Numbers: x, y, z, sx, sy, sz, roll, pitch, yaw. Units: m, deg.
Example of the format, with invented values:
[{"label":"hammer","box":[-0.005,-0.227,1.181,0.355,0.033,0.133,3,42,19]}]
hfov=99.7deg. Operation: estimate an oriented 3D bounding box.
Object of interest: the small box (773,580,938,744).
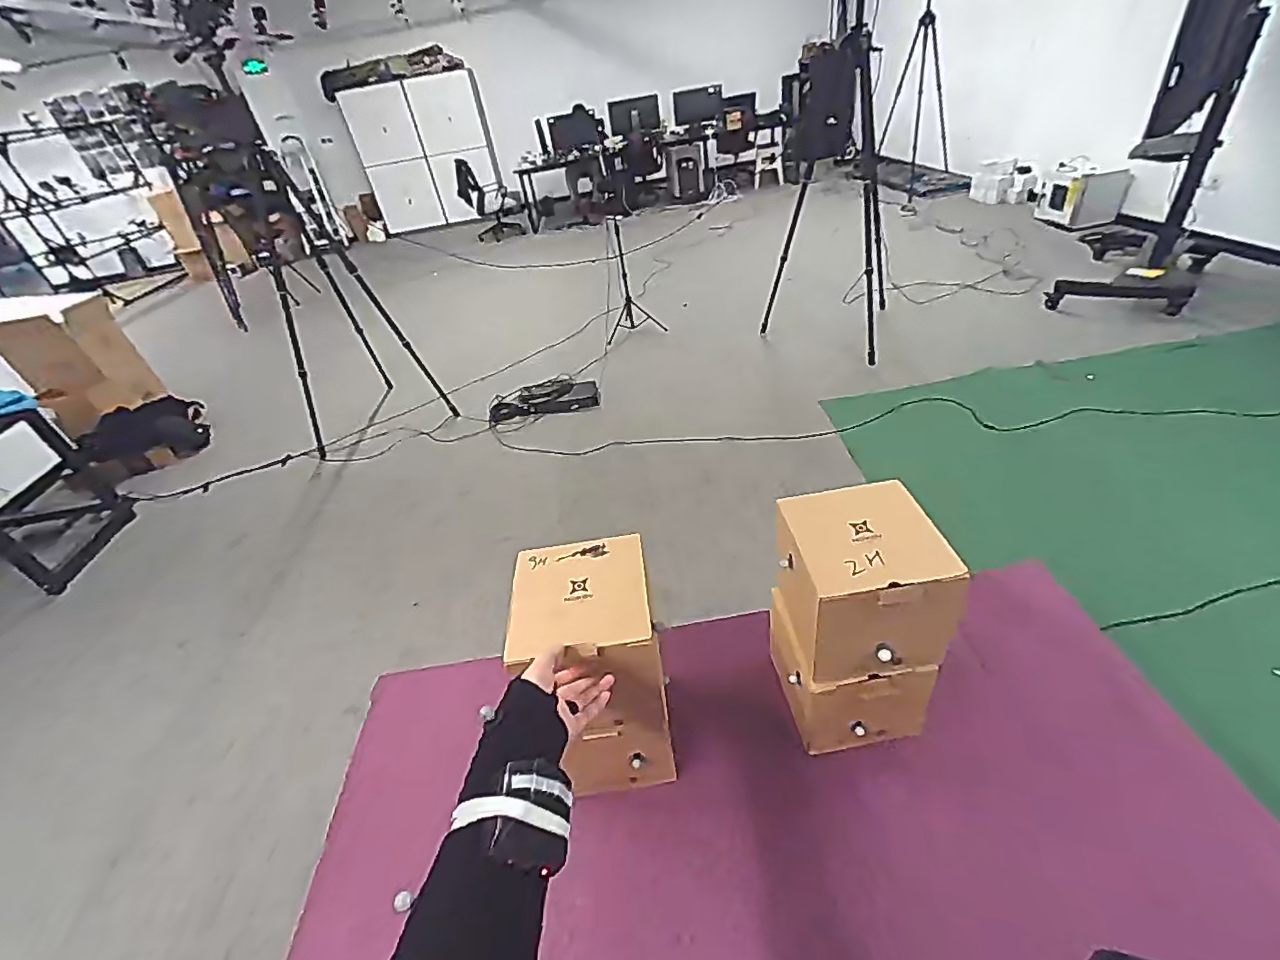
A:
[{"label":"small box","box":[0.299,0.253,0.796,0.168,0.176,0.179,-12,38,0]}]

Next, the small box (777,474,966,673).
[{"label":"small box","box":[0.279,0.119,0.701,0.168,0.176,0.179,-11,38,2]}]

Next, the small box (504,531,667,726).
[{"label":"small box","box":[-0.062,0.195,0.695,0.168,0.176,0.179,-9,38,1]}]

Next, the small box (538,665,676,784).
[{"label":"small box","box":[-0.044,0.323,0.796,0.168,0.176,0.179,-10,37,1]}]
